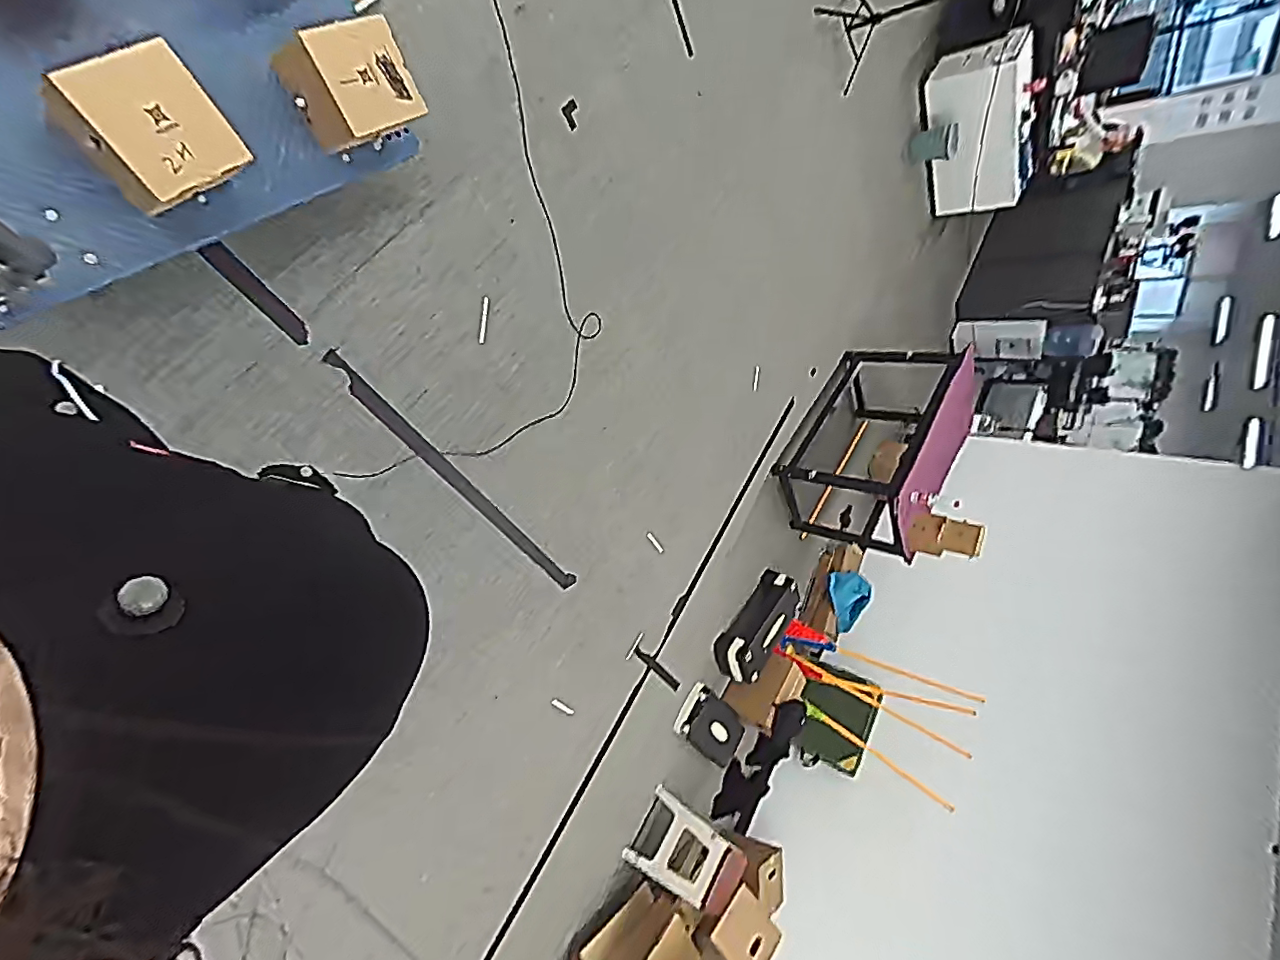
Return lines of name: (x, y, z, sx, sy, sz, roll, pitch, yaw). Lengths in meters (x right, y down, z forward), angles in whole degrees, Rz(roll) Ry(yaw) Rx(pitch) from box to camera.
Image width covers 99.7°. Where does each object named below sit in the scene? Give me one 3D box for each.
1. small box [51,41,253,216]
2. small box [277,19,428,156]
small box: (-0.787, -0.556, 0.875, 0.168, 0.176, 0.179, -50, 133, -27)
small box: (-0.567, -0.768, 1.068, 0.179, 0.176, 0.168, -45, 131, -30)
